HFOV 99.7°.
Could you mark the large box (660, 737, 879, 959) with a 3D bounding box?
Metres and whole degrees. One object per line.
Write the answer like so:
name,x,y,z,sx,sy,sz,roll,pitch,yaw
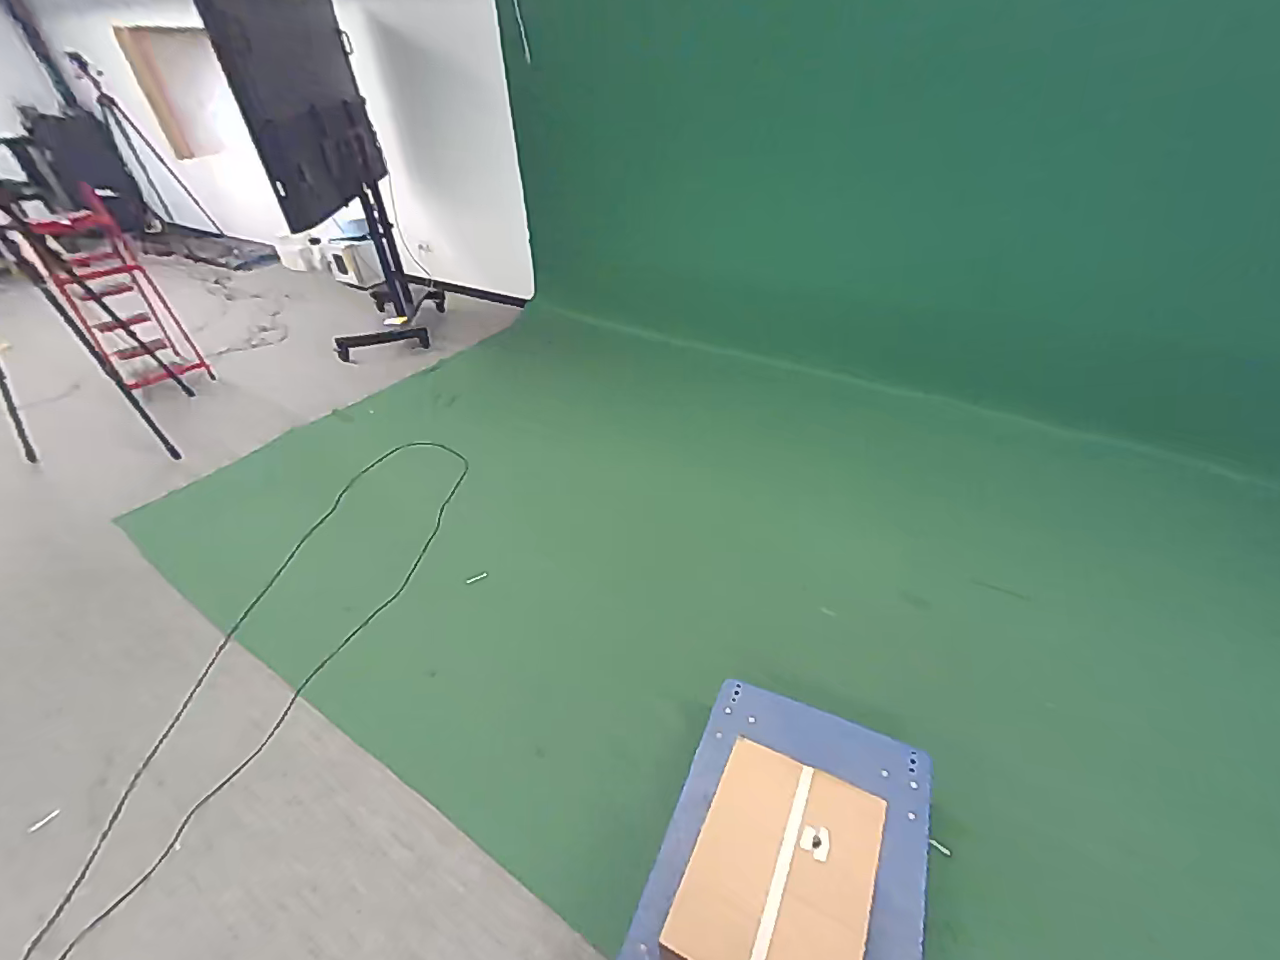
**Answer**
large box,0.262,0.834,1.090,0.320,0.320,0.408,16,41,23
